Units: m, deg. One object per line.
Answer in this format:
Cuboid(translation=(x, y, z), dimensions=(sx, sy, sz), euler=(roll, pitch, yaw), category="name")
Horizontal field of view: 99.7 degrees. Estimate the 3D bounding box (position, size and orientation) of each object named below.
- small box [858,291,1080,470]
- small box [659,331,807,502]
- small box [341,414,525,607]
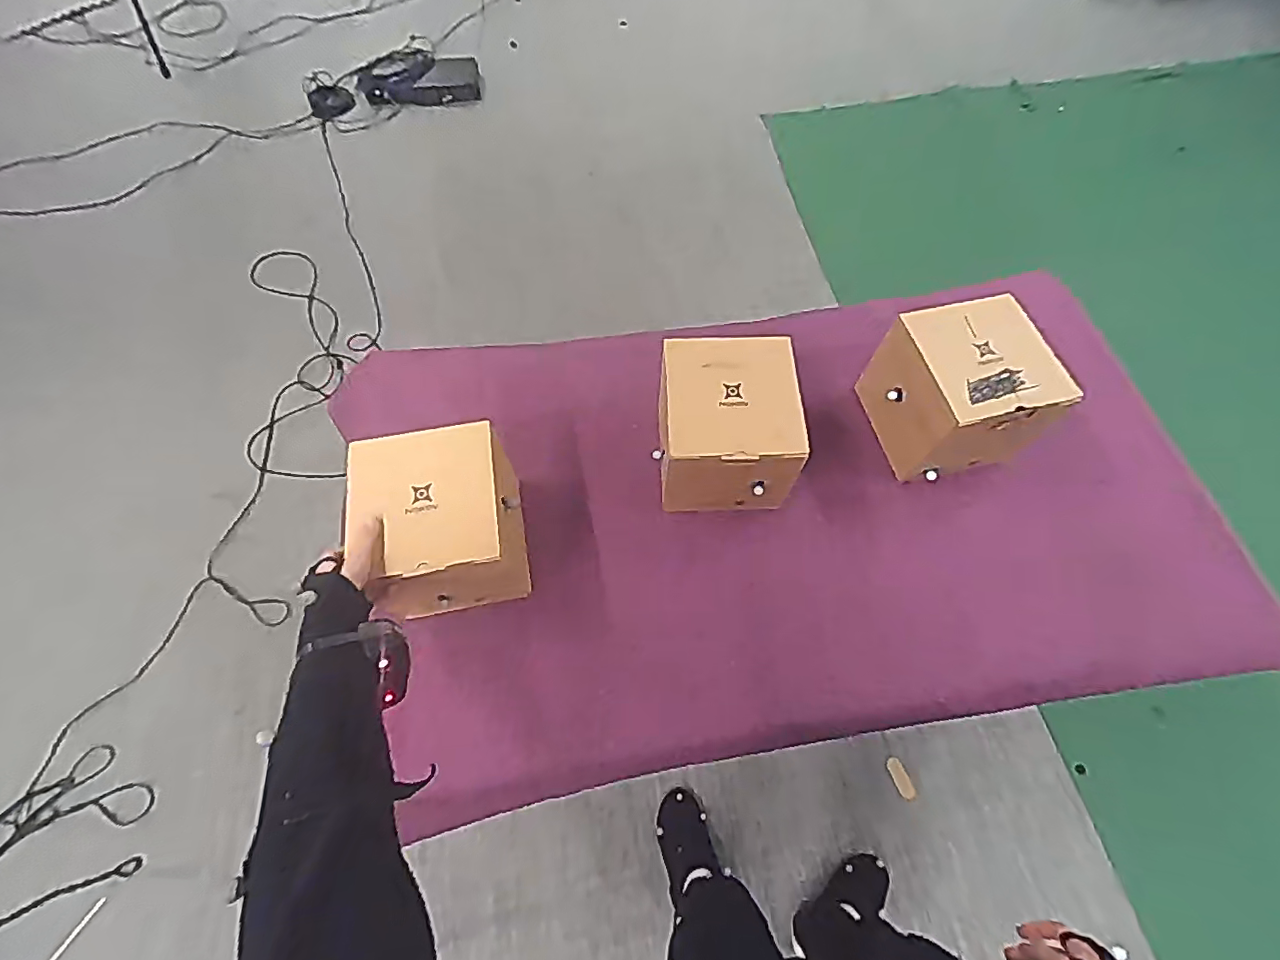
Cuboid(translation=(0.433, -0.126, 0.748), dimensions=(0.168, 0.176, 0.179), euler=(-11, 65, -5), category="small box")
Cuboid(translation=(0.112, -0.077, 0.726), dimensions=(0.168, 0.176, 0.179), euler=(0, 65, -1), category="small box")
Cuboid(translation=(-0.243, 0.044, 0.670), dimensions=(0.168, 0.176, 0.179), euler=(-10, 66, -5), category="small box")
